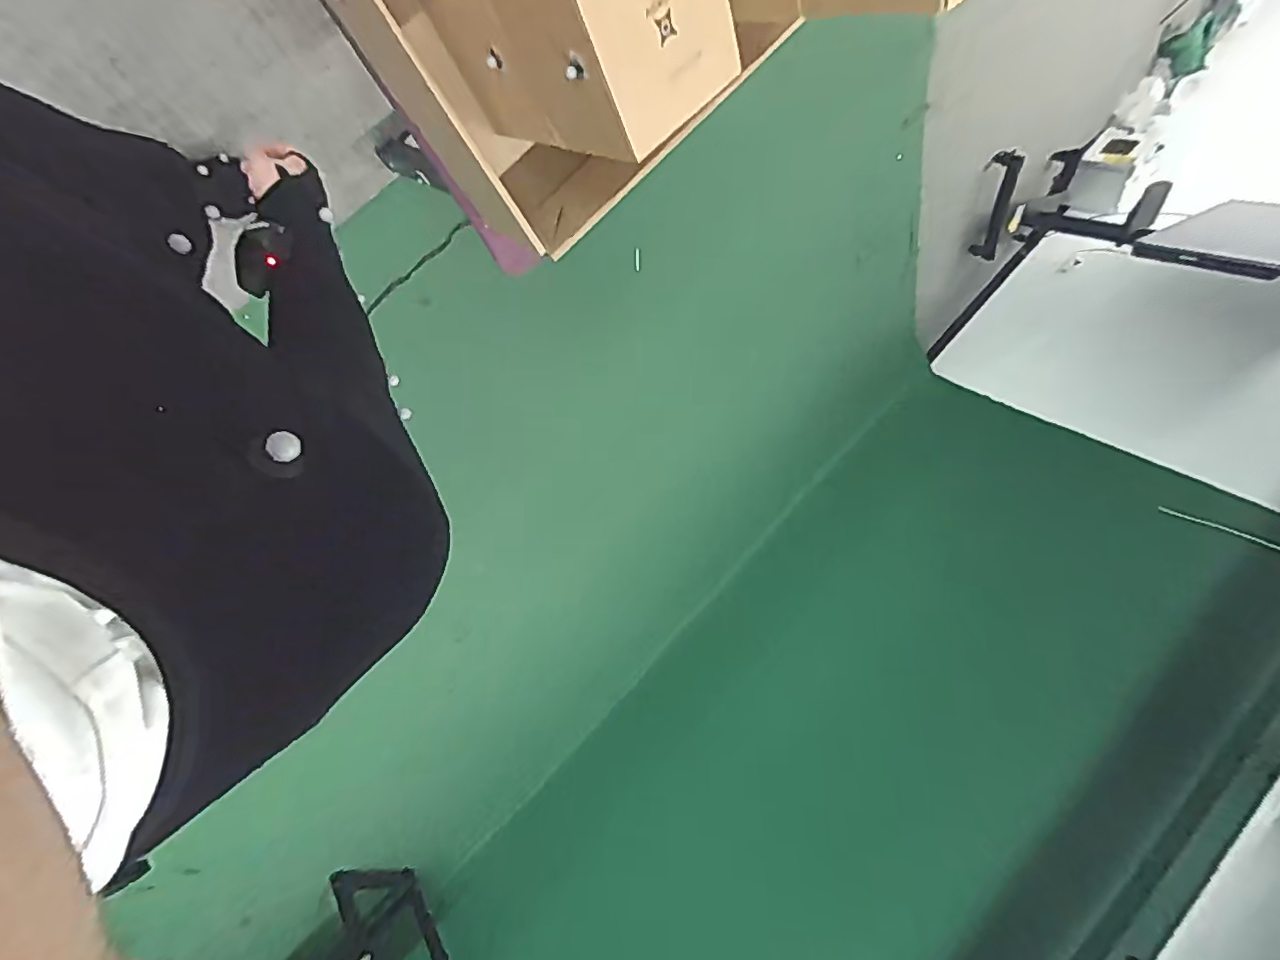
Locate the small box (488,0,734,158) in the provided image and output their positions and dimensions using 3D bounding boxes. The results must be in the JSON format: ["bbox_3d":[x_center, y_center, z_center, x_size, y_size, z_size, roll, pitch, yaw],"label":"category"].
[{"bbox_3d":[-0.032,-0.477,0.568,0.168,0.176,0.179,-44,142,-9],"label":"small box"}]

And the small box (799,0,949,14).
[{"bbox_3d":[0.259,-0.581,0.511,0.179,0.176,0.168,-44,142,-7],"label":"small box"}]
